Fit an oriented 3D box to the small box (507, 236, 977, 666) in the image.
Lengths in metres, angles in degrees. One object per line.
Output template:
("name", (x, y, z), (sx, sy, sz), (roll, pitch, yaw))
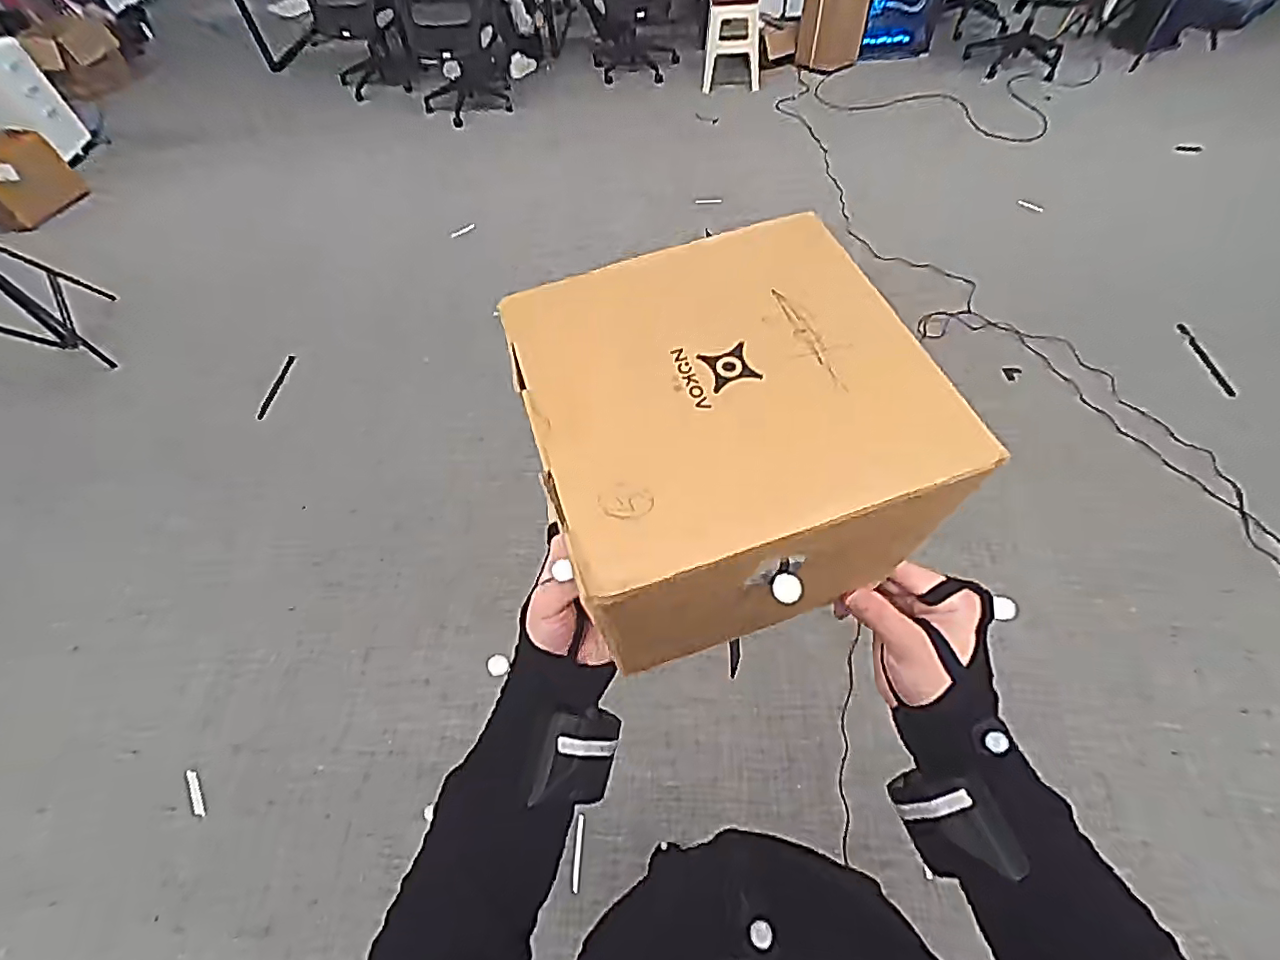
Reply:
("small box", (0.041, -0.005, 0.323), (0.179, 0.176, 0.168), (-18, 62, -7))
